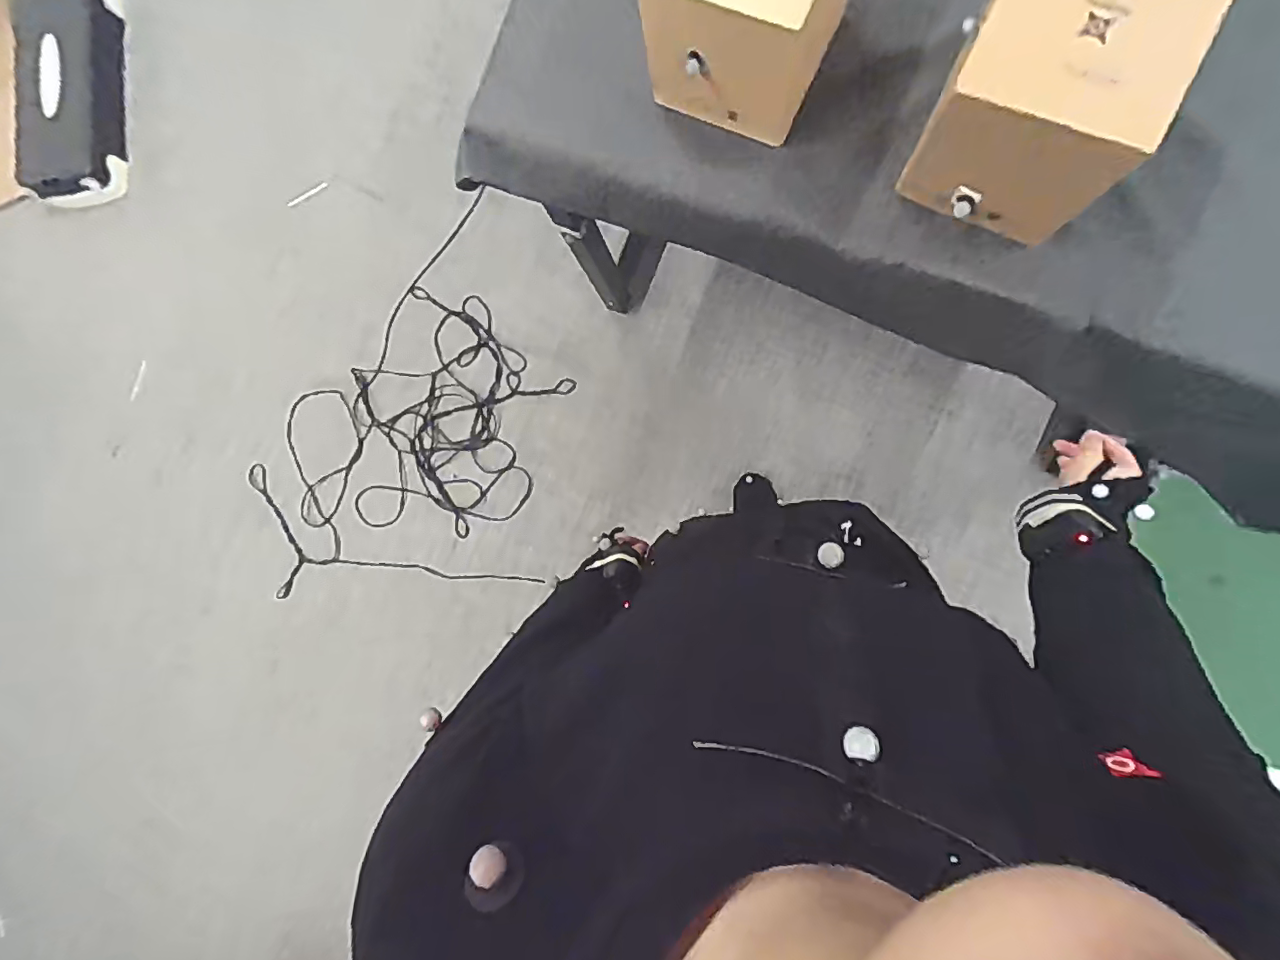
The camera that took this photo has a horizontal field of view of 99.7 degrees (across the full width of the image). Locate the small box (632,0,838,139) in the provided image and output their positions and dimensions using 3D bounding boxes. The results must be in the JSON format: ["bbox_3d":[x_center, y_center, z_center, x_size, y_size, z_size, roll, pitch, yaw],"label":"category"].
[{"bbox_3d":[0.109,-0.502,0.560,0.168,0.176,0.179,25,91,9],"label":"small box"}]

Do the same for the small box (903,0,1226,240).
[{"bbox_3d":[0.381,-0.370,0.515,0.168,0.176,0.179,25,92,10],"label":"small box"}]
